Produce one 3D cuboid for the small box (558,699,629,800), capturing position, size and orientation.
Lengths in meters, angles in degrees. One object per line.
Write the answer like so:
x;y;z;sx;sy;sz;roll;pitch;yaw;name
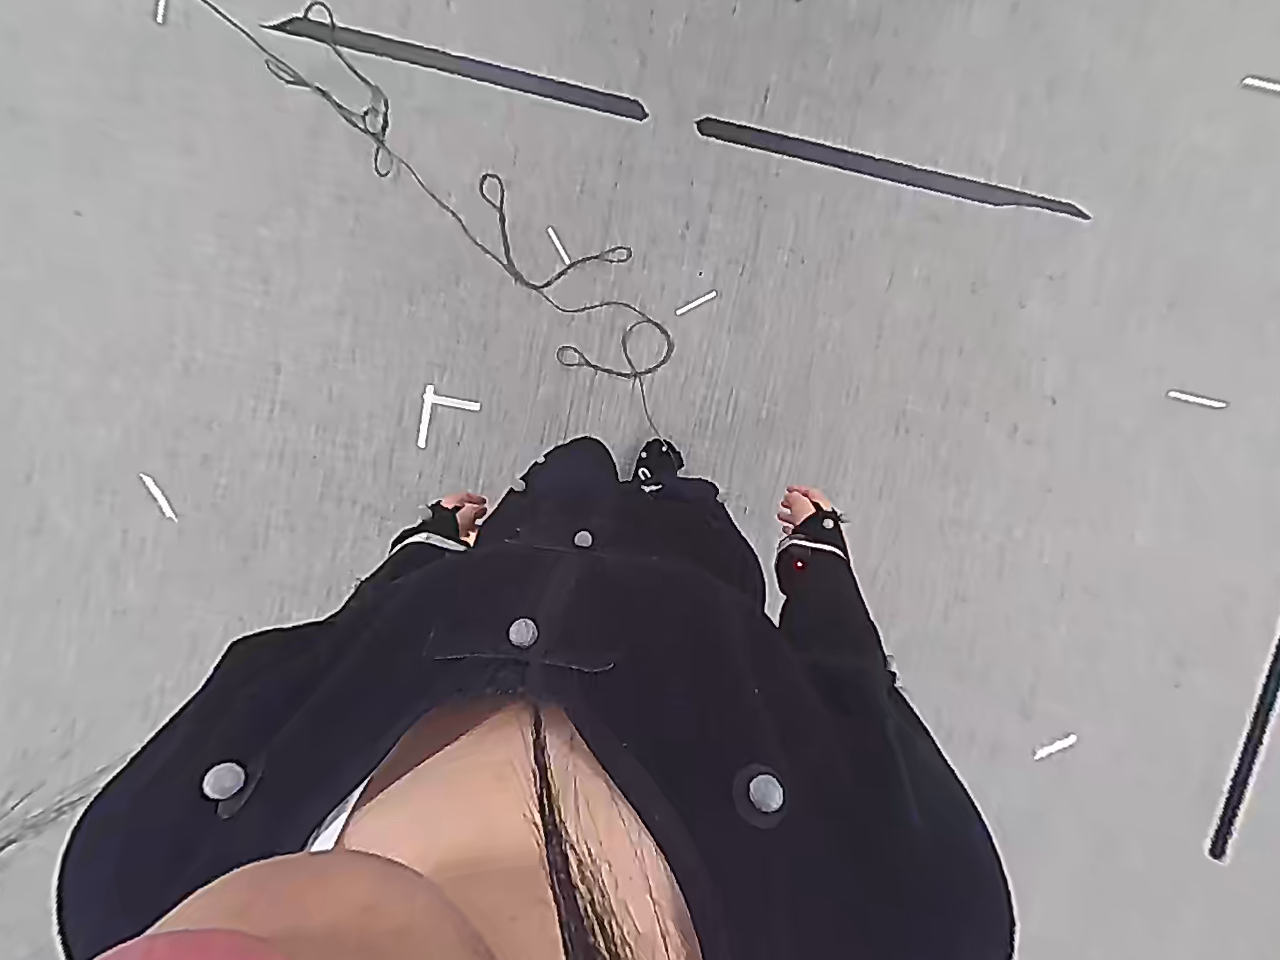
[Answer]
-0.118;0.708;1.434;0.168;0.176;0.179;4;94;0;small box
